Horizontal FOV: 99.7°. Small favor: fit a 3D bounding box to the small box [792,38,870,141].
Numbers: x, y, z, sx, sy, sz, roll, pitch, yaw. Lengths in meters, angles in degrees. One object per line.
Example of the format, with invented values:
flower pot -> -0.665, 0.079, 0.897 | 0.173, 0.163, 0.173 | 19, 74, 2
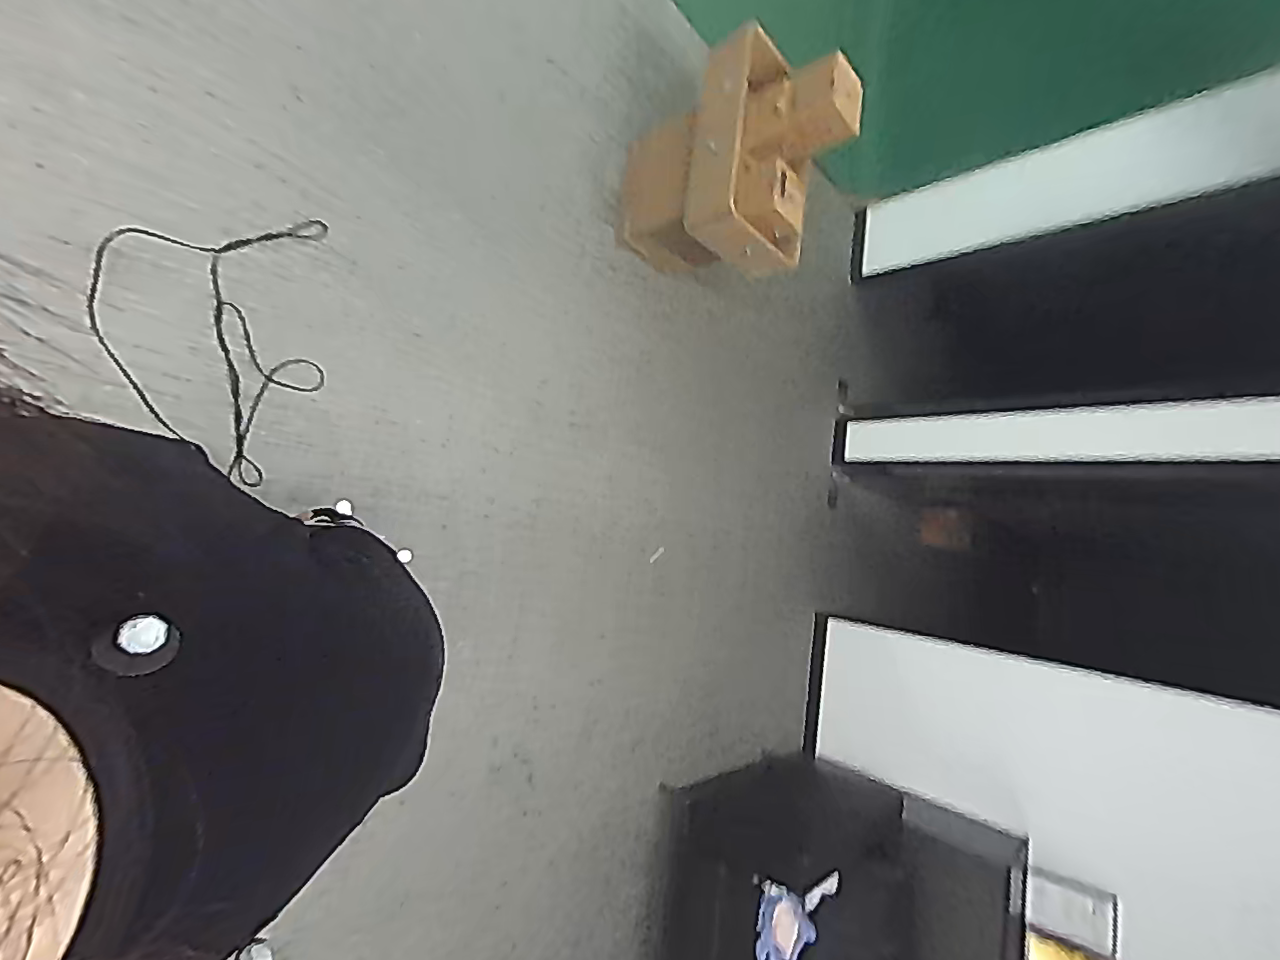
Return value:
small box -> 0.591, -1.200, 1.682 | 0.179, 0.176, 0.168 | 7, 88, -45
